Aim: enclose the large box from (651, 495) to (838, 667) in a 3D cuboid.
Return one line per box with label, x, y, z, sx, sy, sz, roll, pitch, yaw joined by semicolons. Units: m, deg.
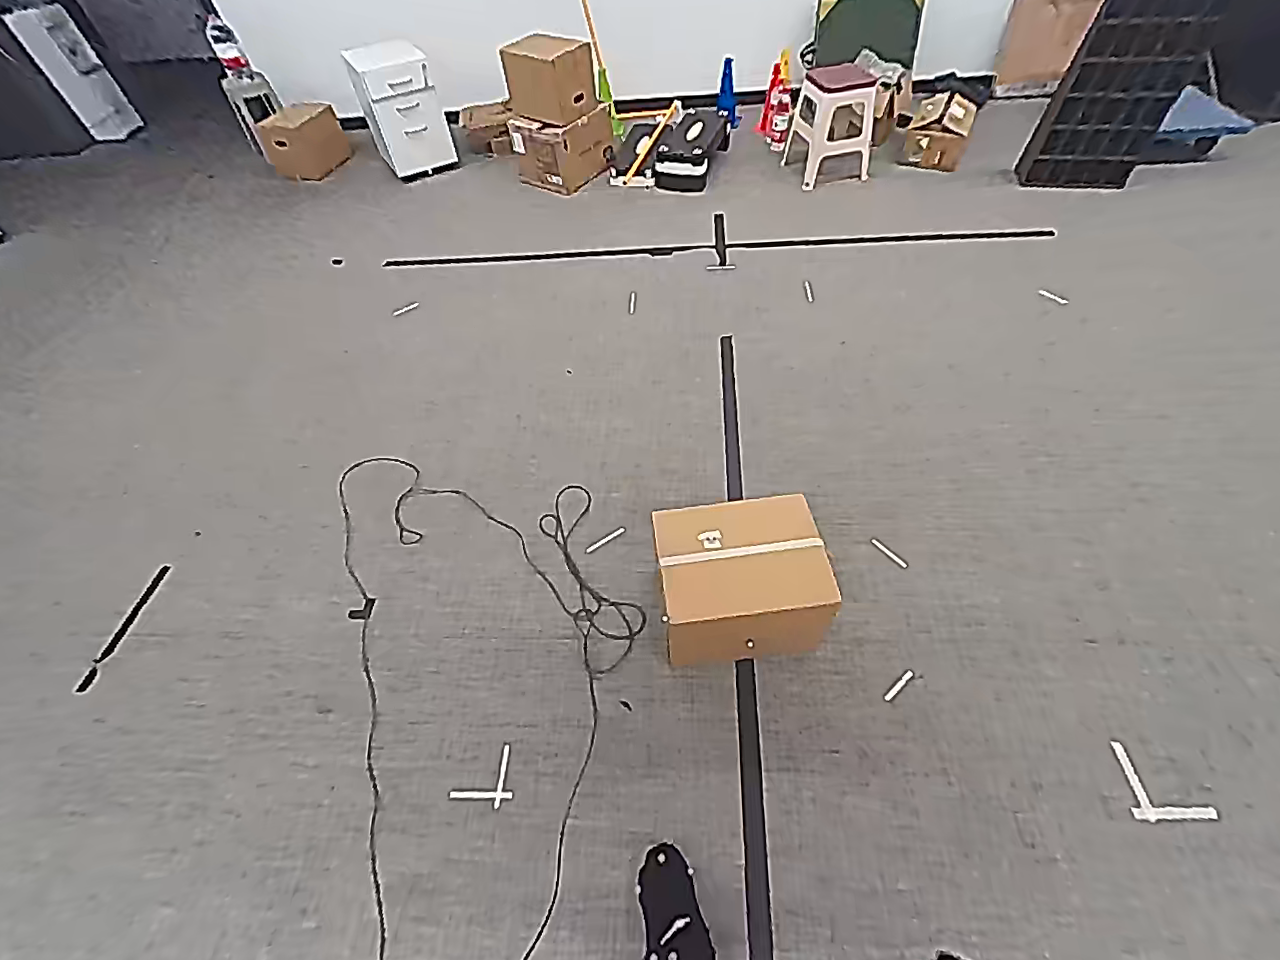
large box;0.254;0.276;1.444;0.408;0.320;0.320;-8;52;0
